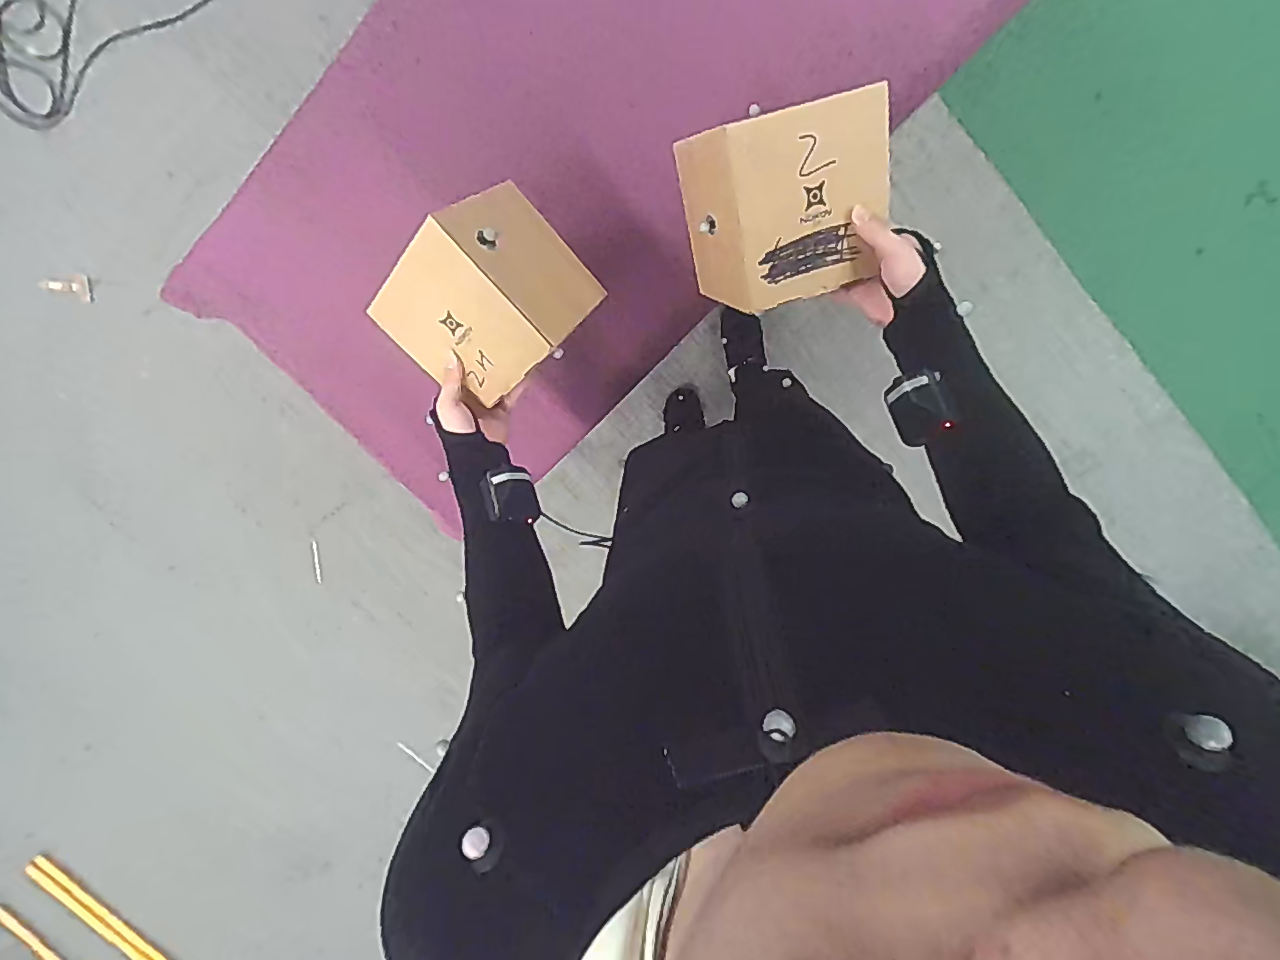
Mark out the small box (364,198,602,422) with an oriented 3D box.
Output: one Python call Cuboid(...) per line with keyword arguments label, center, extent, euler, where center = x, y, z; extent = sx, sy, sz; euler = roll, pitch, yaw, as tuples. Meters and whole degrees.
Cuboid(label="small box", center=(-0.177, -0.208, 0.647), extent=(0.168, 0.176, 0.179), euler=(-29, 112, 37))
